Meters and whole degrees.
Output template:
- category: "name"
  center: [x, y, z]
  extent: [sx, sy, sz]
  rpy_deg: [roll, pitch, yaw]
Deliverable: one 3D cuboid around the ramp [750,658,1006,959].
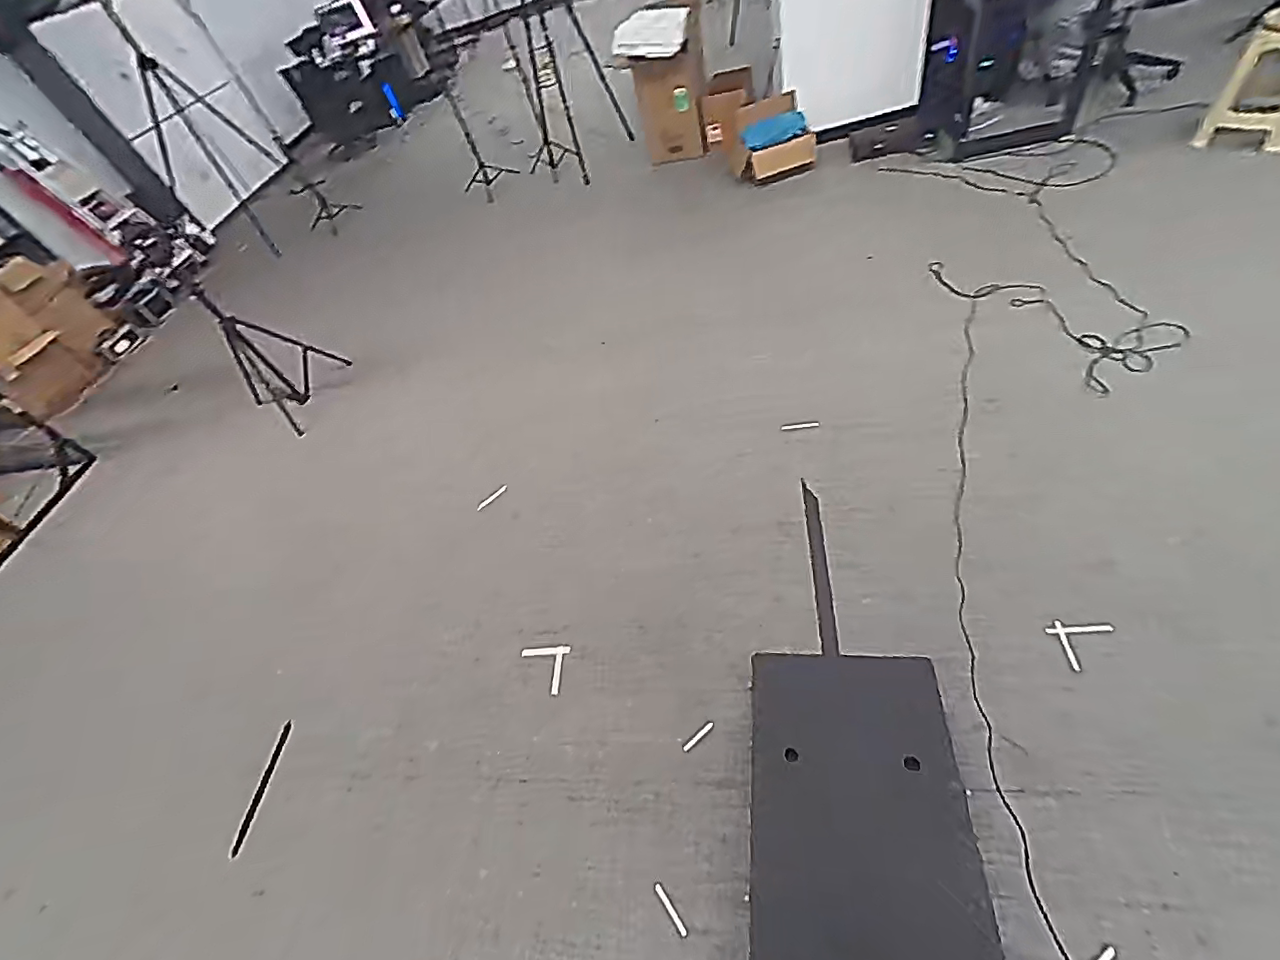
- category: "ramp"
  center: [0.493, 0.851, 1.208]
  extent: [0.509, 0.206, 0.991]
  rpy_deg: [-6, 50, 15]
